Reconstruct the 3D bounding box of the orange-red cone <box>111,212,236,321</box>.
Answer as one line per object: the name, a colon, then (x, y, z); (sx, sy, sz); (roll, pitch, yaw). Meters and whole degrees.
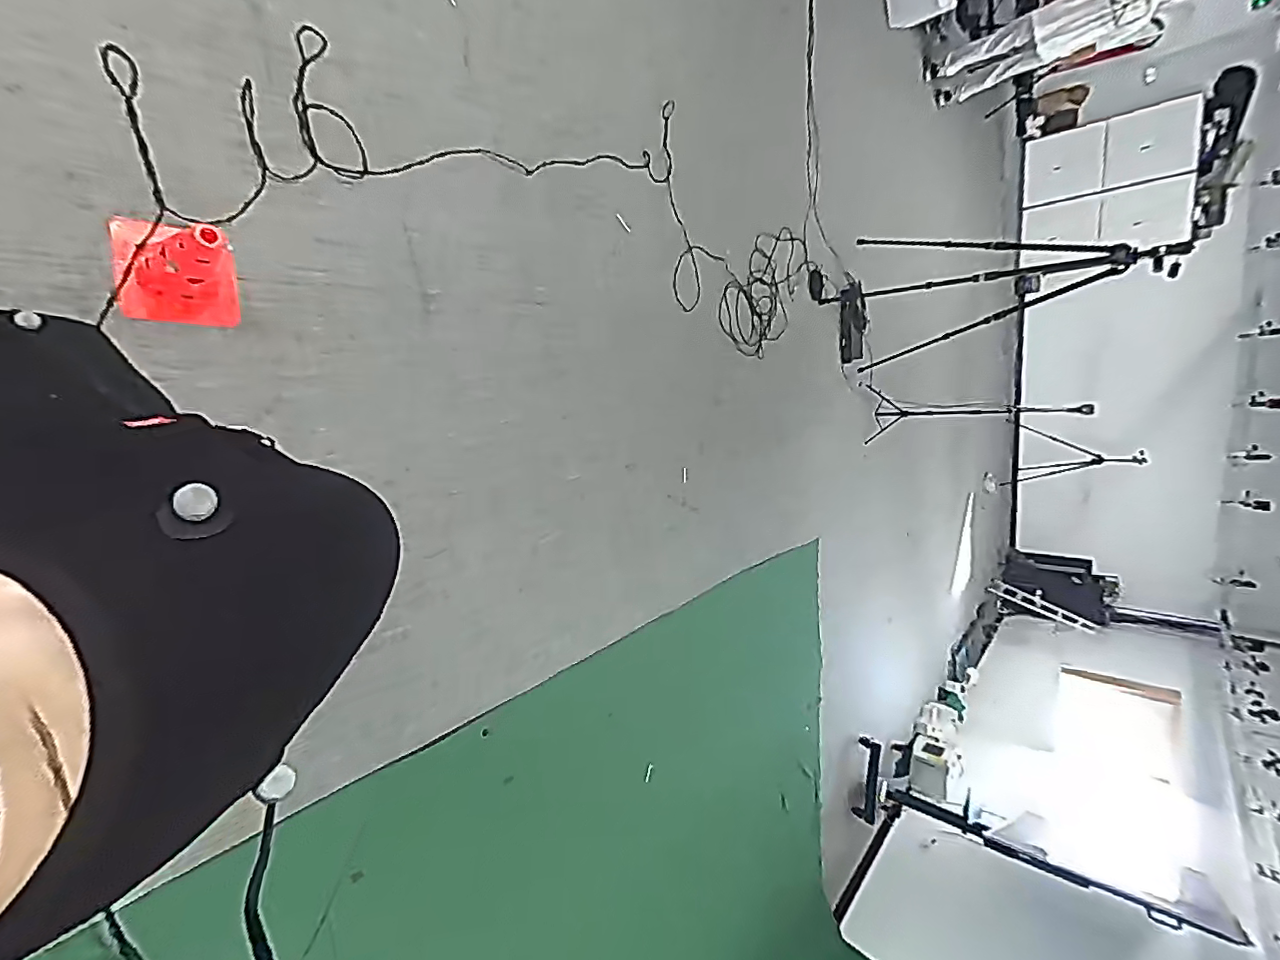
orange-red cone: (-0.864, -0.435, 1.036); (0.198, 0.360, 0.199); (-7, 100, -46)
